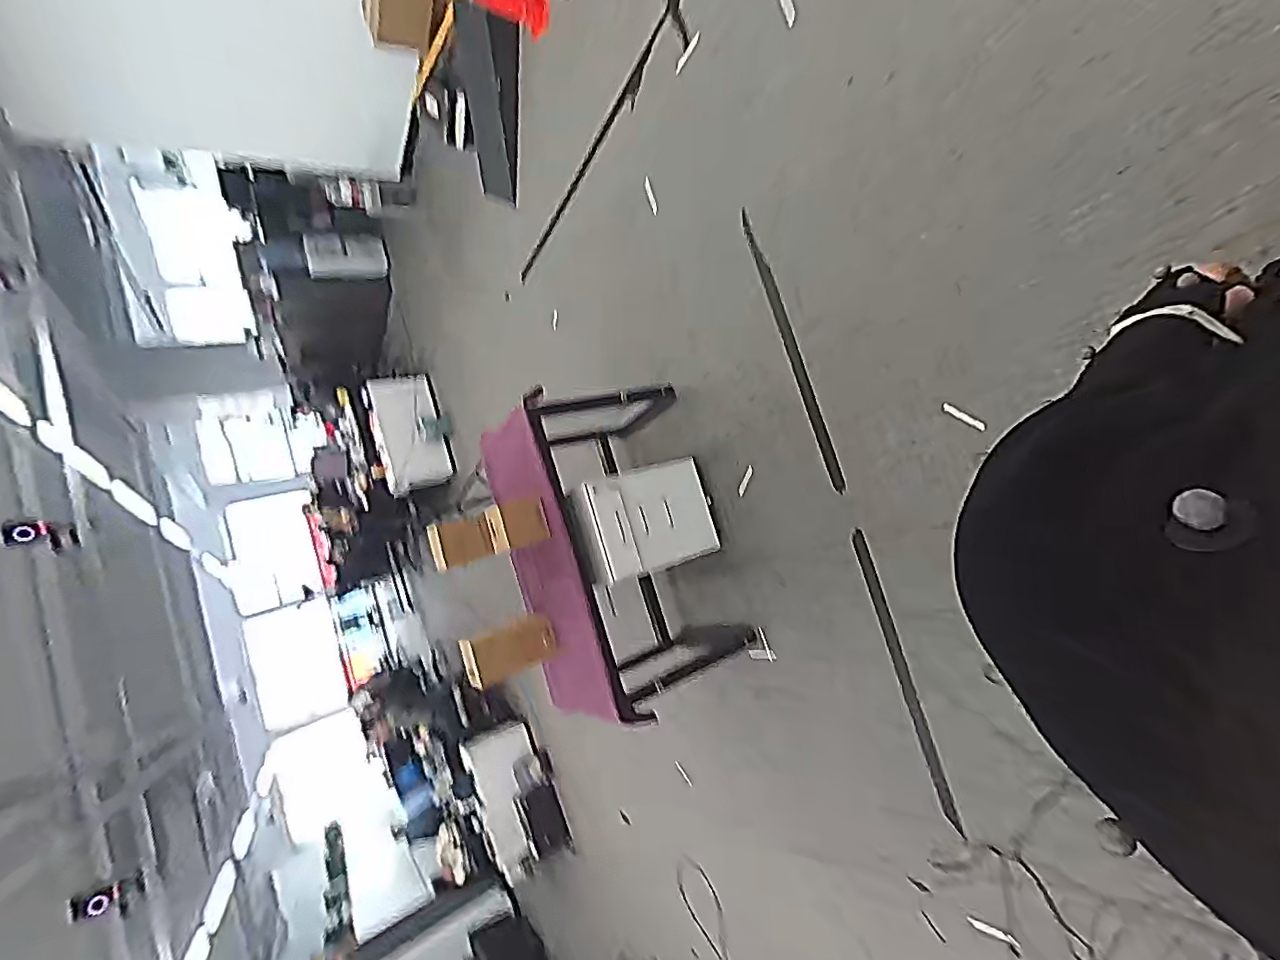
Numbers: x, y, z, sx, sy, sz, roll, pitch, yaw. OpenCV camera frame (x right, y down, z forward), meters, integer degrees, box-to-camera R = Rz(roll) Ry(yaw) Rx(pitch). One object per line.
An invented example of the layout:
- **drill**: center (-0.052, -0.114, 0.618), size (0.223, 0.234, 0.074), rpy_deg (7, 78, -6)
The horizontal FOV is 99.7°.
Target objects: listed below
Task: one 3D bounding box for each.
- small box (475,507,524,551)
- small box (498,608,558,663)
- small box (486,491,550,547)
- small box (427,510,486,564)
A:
- **small box**: center (-0.609, 0.198, 2.286), size (0.168, 0.176, 0.179), rpy_deg (-19, 86, 56)
- **small box**: center (-0.460, 0.635, 2.229), size (0.179, 0.176, 0.168), rpy_deg (-15, 90, 55)
- **small box**: center (-0.462, 0.149, 2.048), size (0.179, 0.176, 0.168), rpy_deg (-20, 86, 57)
- **small box**: center (-0.742, 0.233, 2.196), size (0.168, 0.176, 0.179), rpy_deg (-17, 89, 55)
